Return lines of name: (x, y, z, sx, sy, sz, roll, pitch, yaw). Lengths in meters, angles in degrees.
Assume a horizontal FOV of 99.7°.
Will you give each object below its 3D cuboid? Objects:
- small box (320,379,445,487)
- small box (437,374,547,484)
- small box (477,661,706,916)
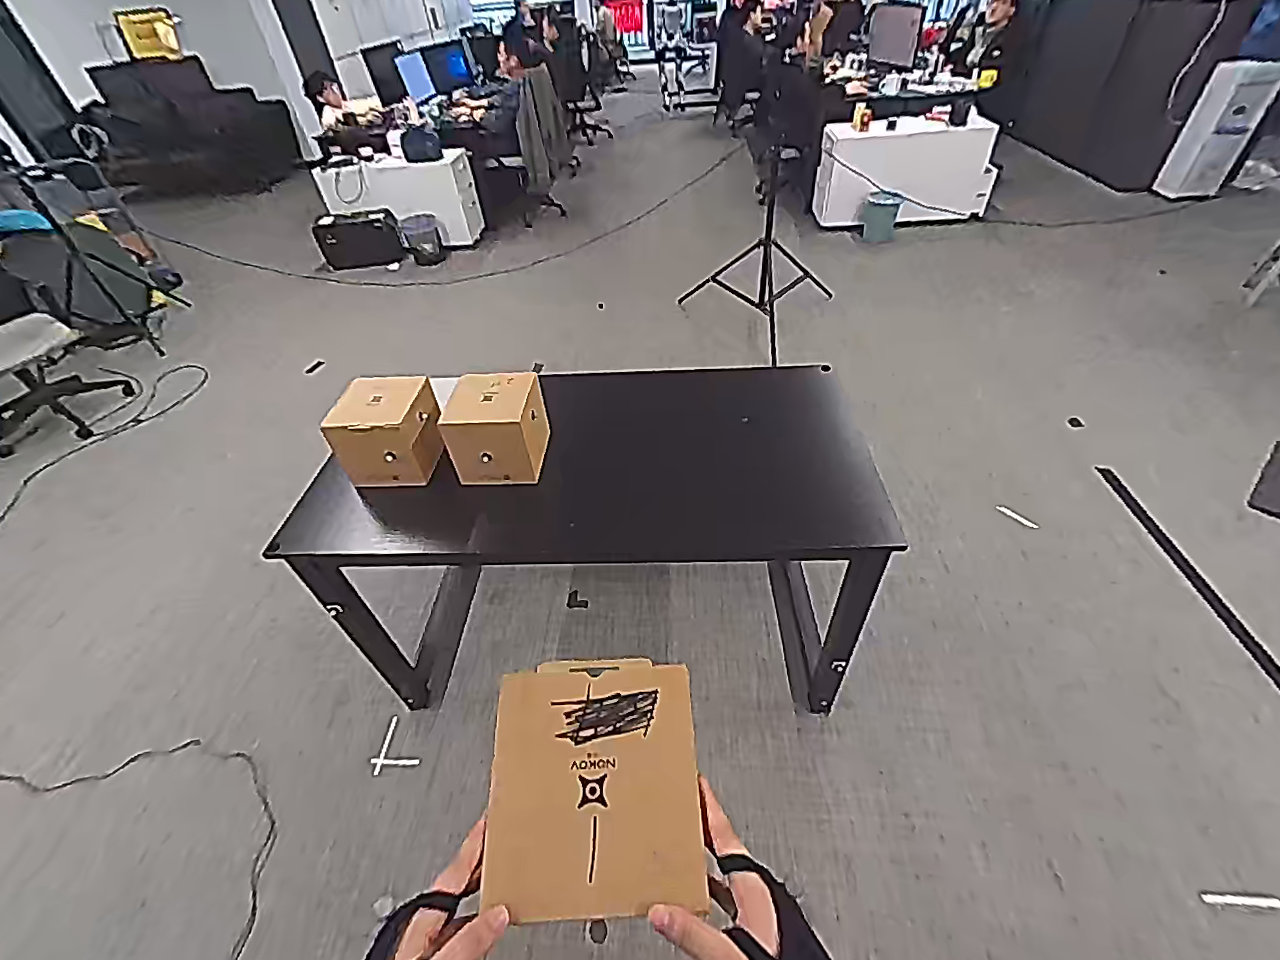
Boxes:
small box: (-0.539, -0.098, 1.166, 0.168, 0.176, 0.179, -1, 42, 3)
small box: (-0.300, -0.104, 1.146, 0.168, 0.176, 0.179, -1, 43, 4)
small box: (-0.036, 0.283, 0.494, 0.168, 0.176, 0.179, -3, 52, -1)
